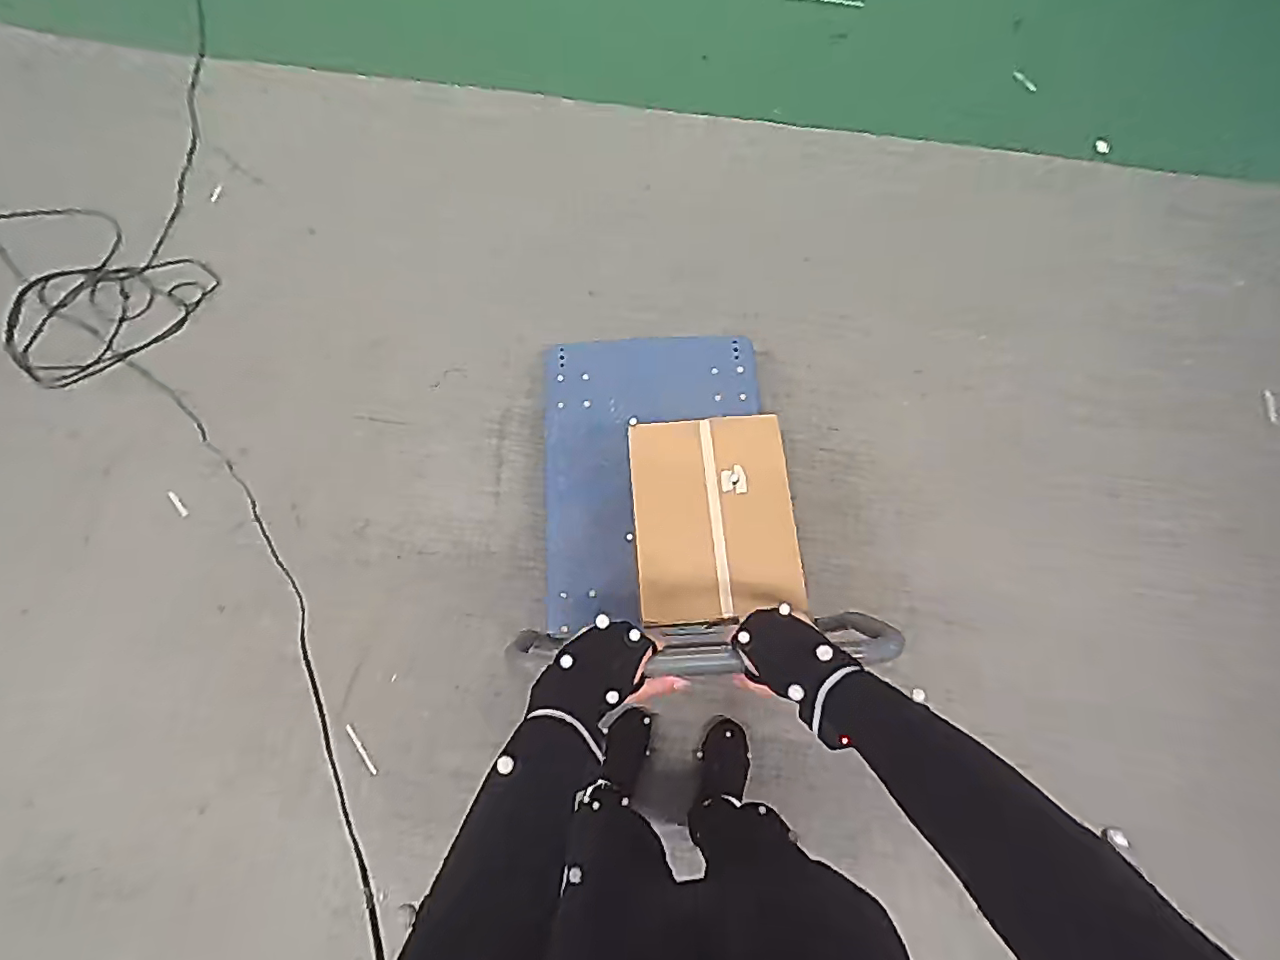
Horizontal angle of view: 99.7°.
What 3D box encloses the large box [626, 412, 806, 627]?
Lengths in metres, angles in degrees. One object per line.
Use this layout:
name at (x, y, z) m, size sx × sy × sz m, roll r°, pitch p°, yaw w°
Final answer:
large box at (0.141, 0.103, 1.198) m, size 0.320 × 0.320 × 0.408 m, roll -4°, pitch 73°, yaw -2°
